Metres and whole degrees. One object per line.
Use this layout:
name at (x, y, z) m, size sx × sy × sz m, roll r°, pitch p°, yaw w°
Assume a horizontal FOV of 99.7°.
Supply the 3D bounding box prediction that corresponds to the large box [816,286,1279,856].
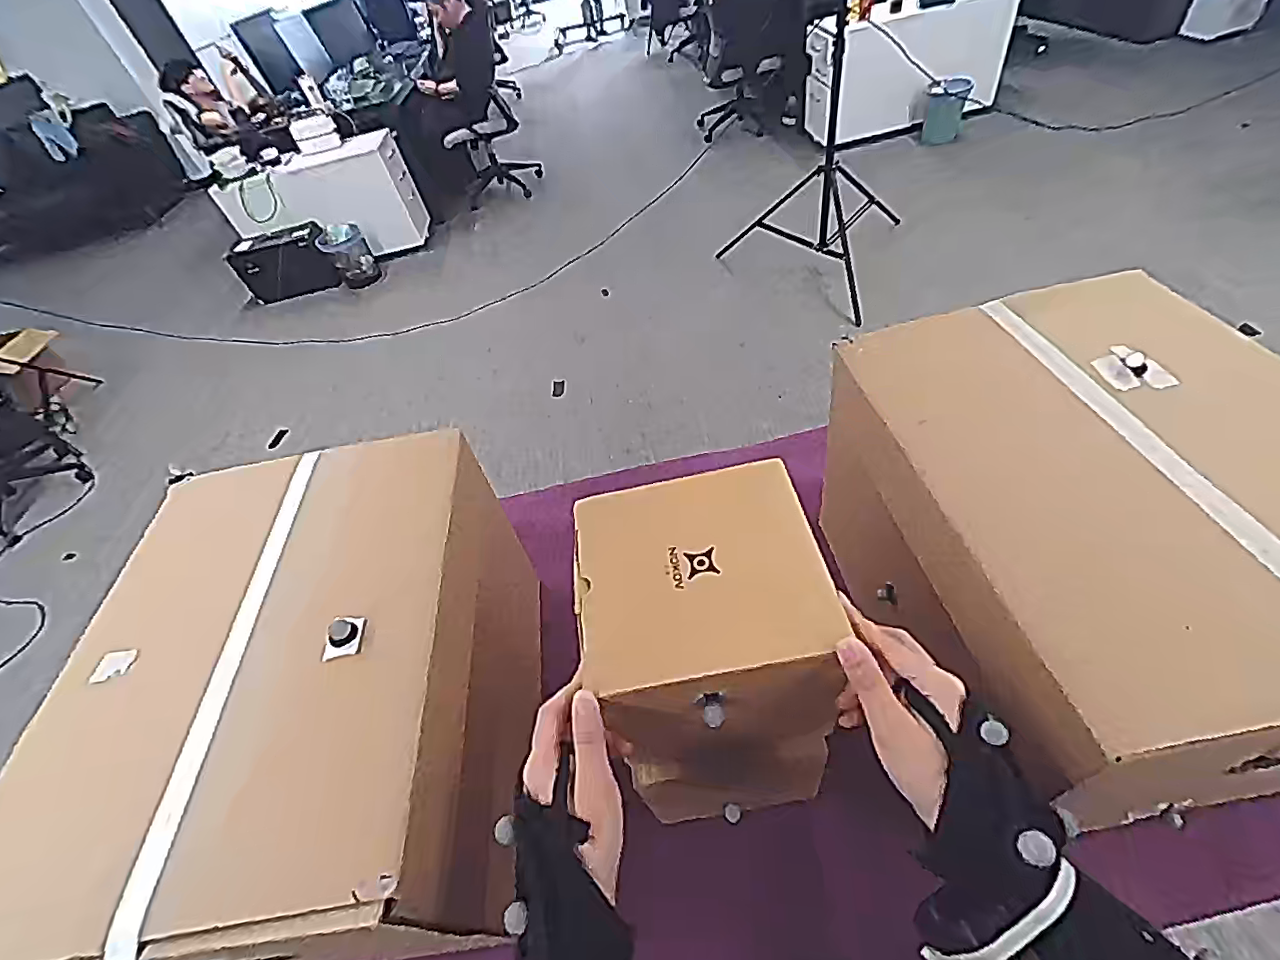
large box at (0.394, 0.077, 0.526) m, size 0.320 × 0.320 × 0.408 m, roll -12°, pitch 46°, yaw 2°

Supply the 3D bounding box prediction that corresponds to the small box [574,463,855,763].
small box at (0.053, 0.115, 0.447) m, size 0.179 × 0.176 × 0.168 m, roll -13°, pitch 48°, yaw 4°
